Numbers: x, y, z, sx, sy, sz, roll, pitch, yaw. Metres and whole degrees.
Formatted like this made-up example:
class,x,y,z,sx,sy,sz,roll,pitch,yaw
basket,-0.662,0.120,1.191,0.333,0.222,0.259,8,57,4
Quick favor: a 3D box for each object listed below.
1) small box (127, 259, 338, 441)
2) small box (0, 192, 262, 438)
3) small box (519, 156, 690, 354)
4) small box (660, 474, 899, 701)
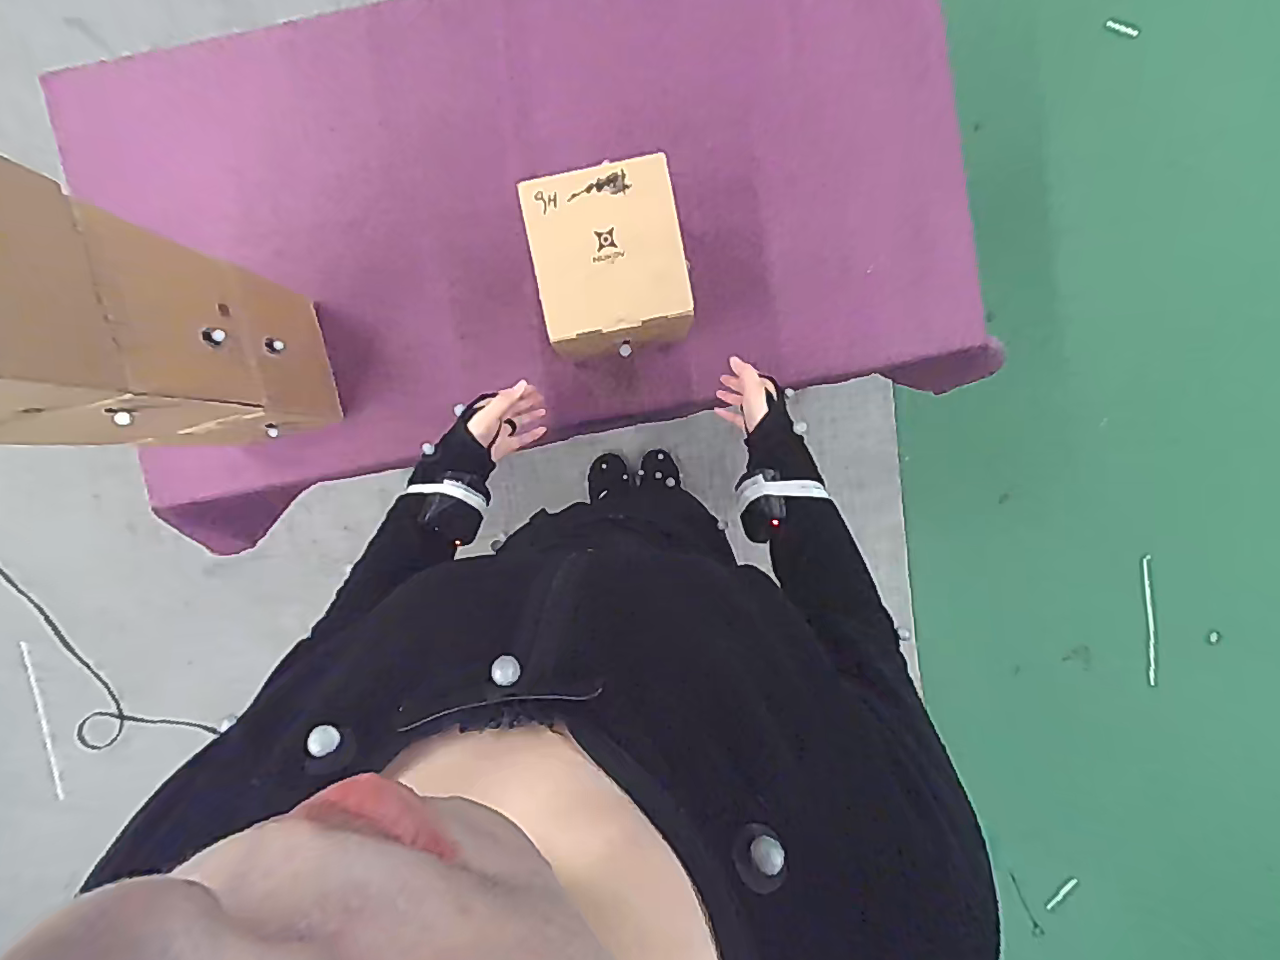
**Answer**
class,x,y,z,sx,sy,sz,roll,pitch,yaw
small box,-0.515,-0.150,0.679,0.168,0.176,0.179,-12,94,0
small box,-0.518,-0.138,0.517,0.179,0.176,0.168,-14,94,-1
small box,-0.036,-0.259,0.671,0.168,0.176,0.179,-11,95,1
small box,0.161,0.116,0.614,0.176,0.168,0.179,9,119,-41
